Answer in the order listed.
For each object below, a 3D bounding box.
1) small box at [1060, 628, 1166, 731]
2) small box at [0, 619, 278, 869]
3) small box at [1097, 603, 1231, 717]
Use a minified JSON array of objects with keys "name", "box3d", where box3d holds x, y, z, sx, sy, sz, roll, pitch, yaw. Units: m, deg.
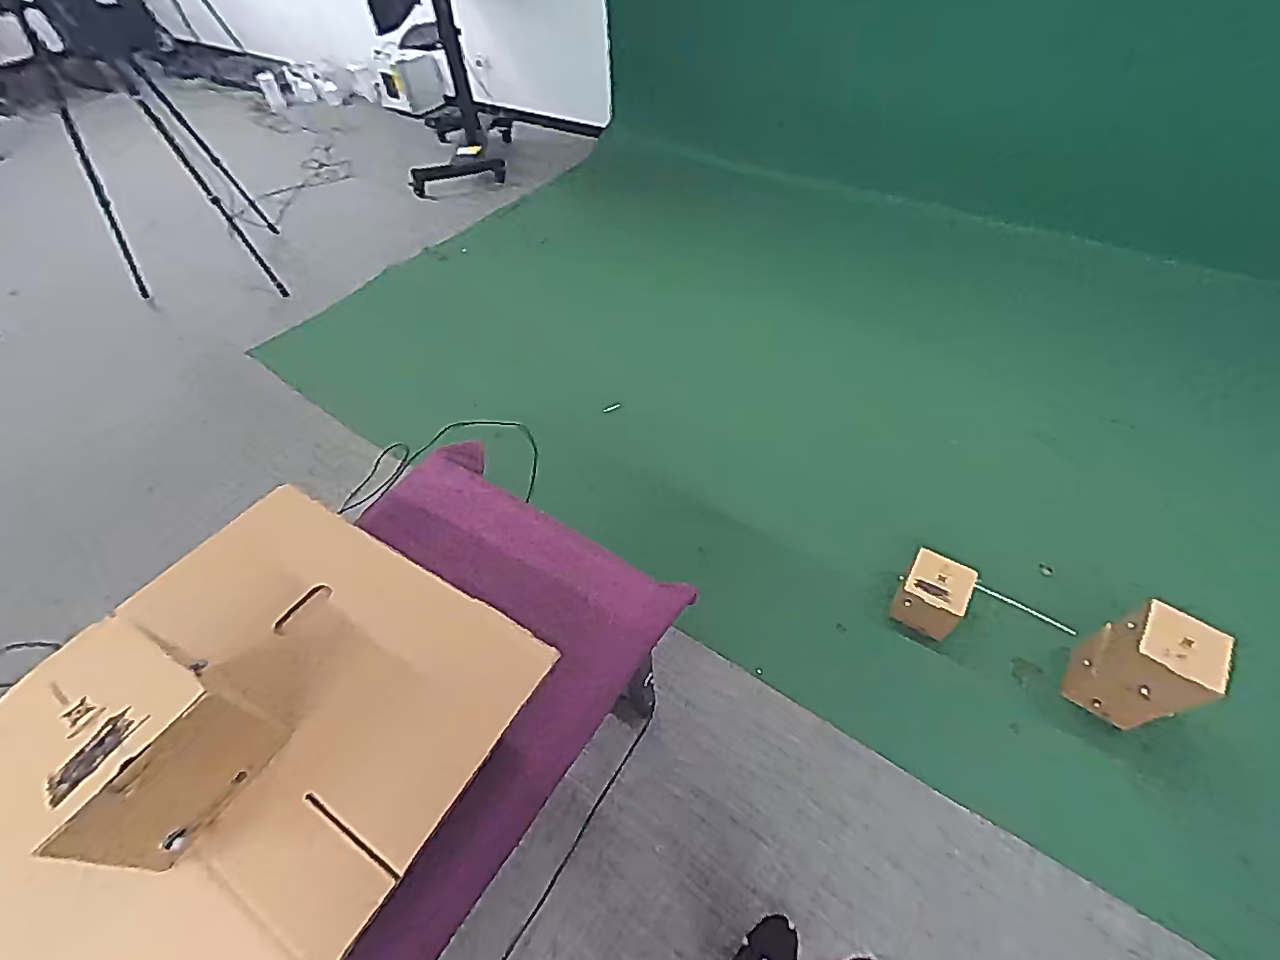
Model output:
[{"name":"small box","box3d":[1.286,0.542,1.462,0.168,0.176,0.179,30,59,24]},{"name":"small box","box3d":[-0.553,0.291,0.593,0.179,0.176,0.168,24,54,21]},{"name":"small box","box3d":[1.280,0.444,1.330,0.168,0.176,0.179,32,60,25]}]
